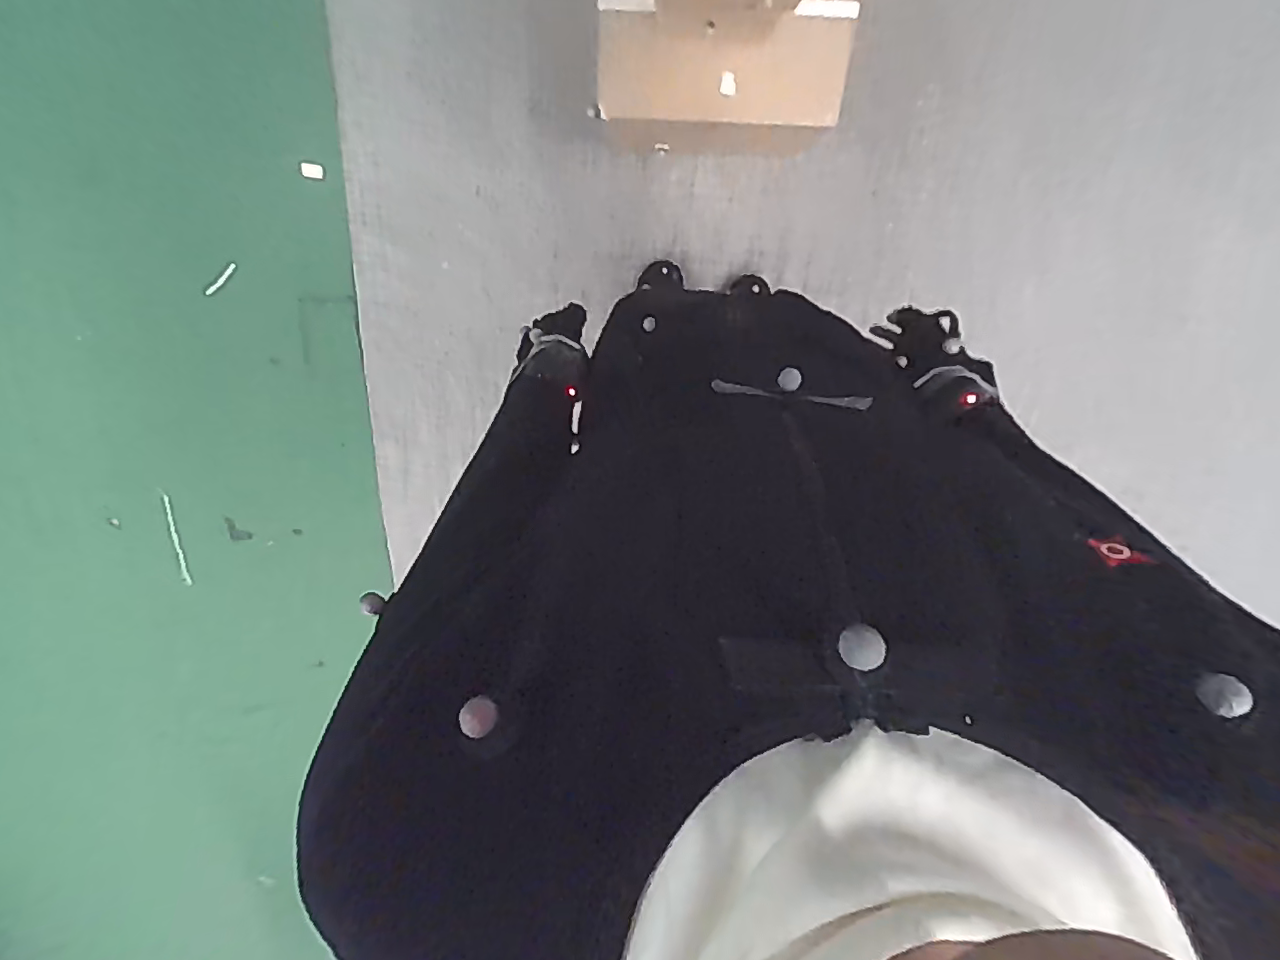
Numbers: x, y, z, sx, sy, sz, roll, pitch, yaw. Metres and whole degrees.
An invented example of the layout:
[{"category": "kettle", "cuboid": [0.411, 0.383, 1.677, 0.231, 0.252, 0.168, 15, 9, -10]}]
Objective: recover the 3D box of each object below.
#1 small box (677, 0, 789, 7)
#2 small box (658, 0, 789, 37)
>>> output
[{"category": "small box", "cuboid": [0.114, -0.664, 0.609, 0.168, 0.176, 0.179, 1, 118, 2]}, {"category": "small box", "cuboid": [0.117, -0.740, 0.752, 0.179, 0.176, 0.168, 4, 119, 2]}]
